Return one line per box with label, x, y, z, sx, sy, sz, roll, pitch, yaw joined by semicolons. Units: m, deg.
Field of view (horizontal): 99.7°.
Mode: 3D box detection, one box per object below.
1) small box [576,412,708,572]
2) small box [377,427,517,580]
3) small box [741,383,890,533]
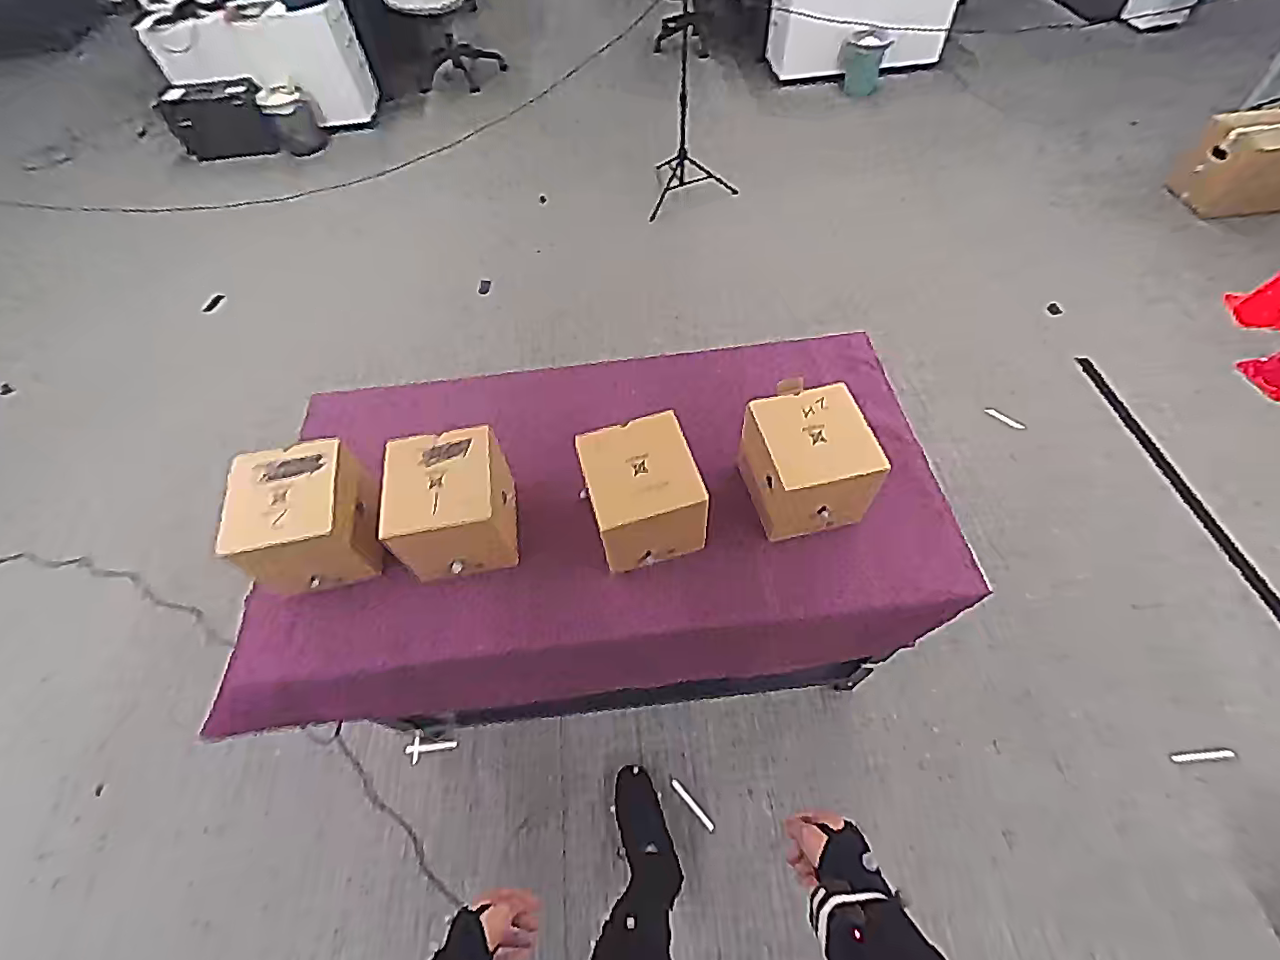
small box;0.002;0.023;0.876;0.168;0.176;0.179;-16;57;-6
small box;-0.303;0.041;0.883;0.168;0.176;0.179;-10;58;-3
small box;0.274;-0.028;0.888;0.168;0.176;0.179;-12;57;-4
